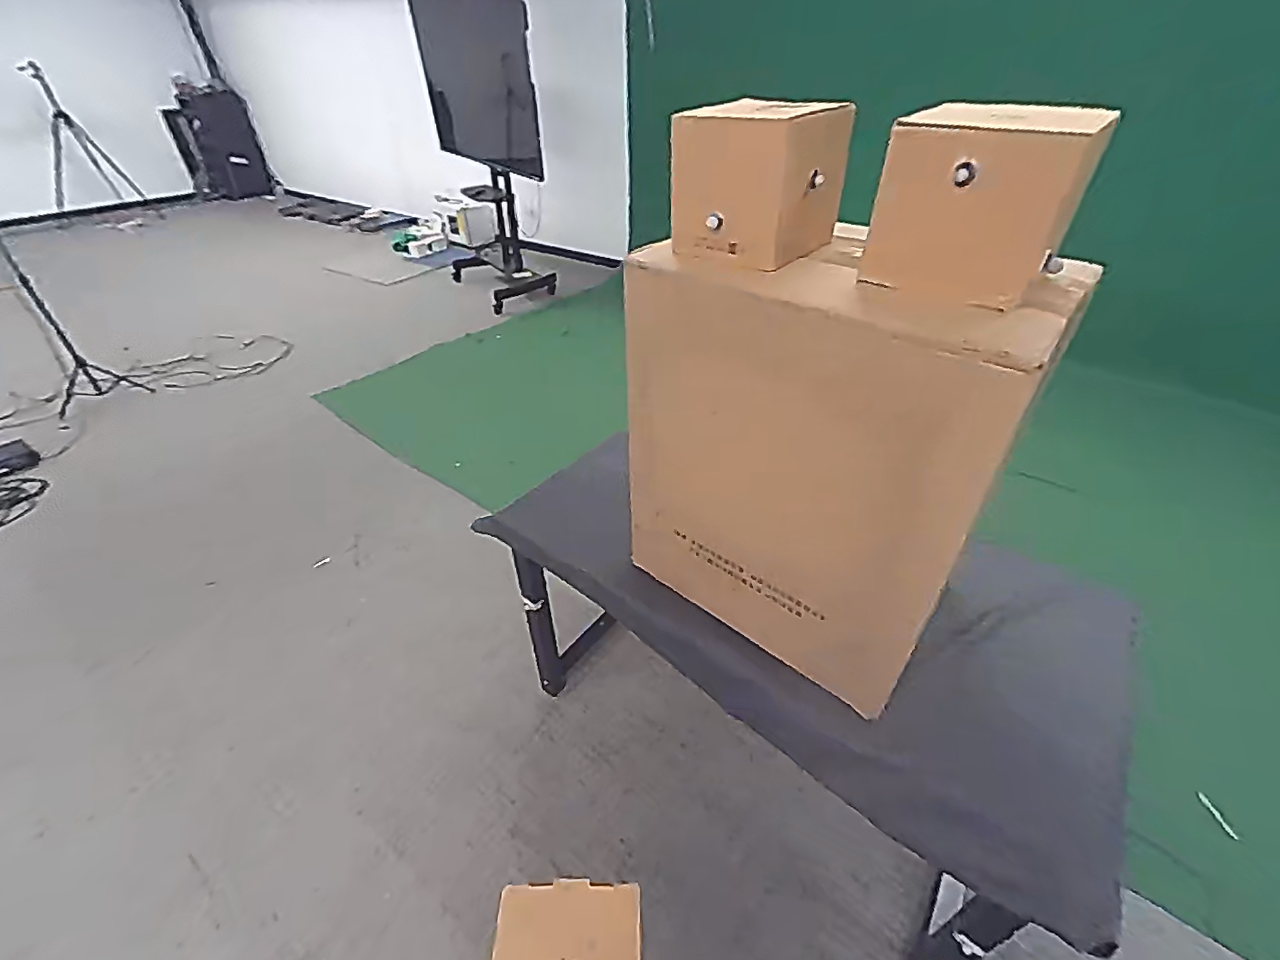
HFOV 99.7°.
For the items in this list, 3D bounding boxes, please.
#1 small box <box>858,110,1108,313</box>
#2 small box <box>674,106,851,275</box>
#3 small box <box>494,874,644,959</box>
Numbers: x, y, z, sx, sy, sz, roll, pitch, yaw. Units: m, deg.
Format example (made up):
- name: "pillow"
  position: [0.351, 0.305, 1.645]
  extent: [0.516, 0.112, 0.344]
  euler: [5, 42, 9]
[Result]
- name: "small box"
  position: [0.377, -0.309, 0.618]
  extent: [0.179, 0.176, 0.168]
  euler: [29, 49, 29]
- name: "small box"
  position: [0.159, -0.400, 0.740]
  extent: [0.168, 0.176, 0.179]
  euler: [27, 48, 32]
- name: "small box"
  position: [-0.081, 0.595, 0.633]
  extent: [0.168, 0.176, 0.179]
  euler: [1, 39, 1]
